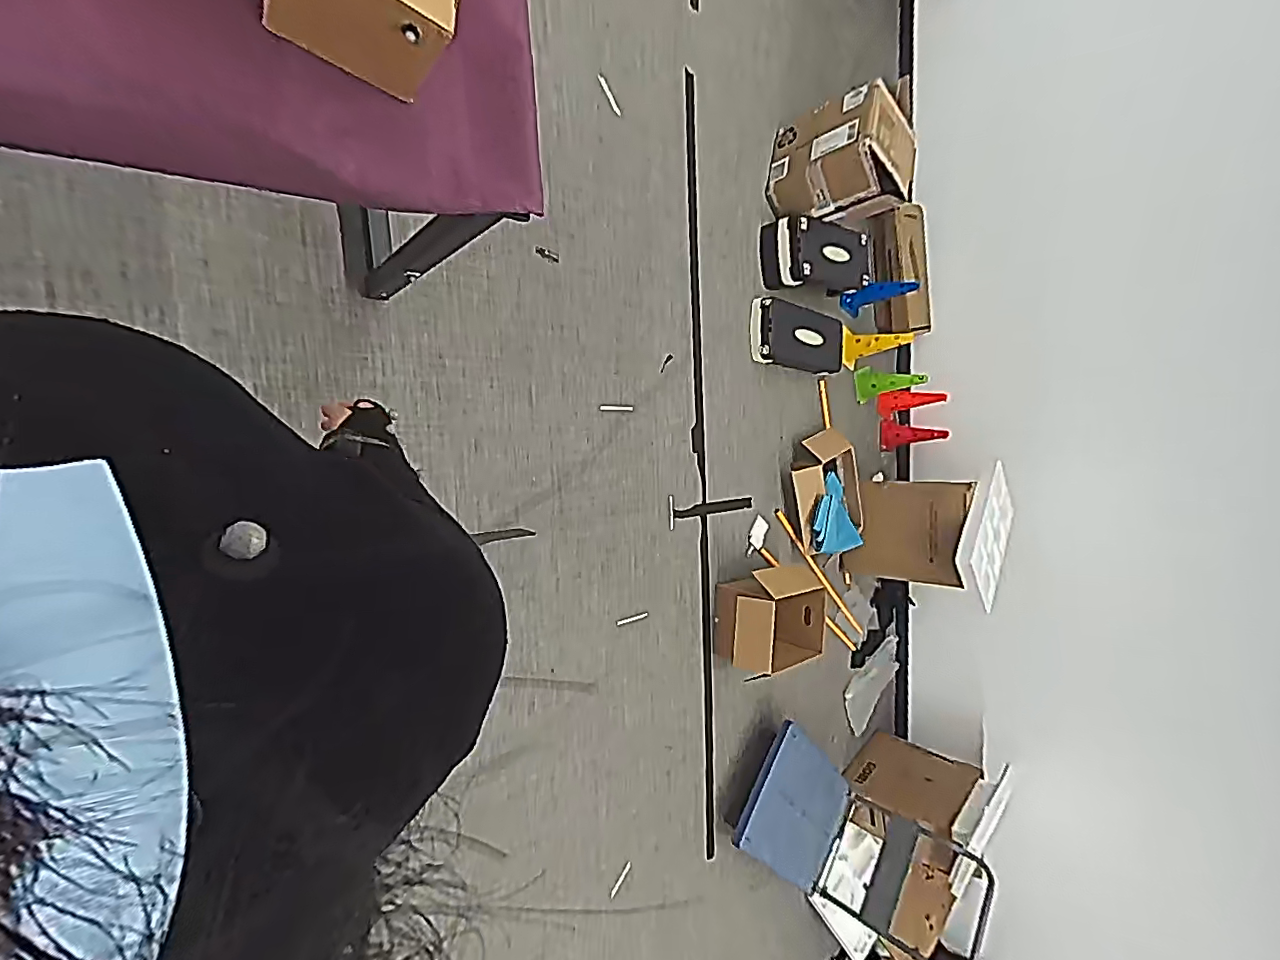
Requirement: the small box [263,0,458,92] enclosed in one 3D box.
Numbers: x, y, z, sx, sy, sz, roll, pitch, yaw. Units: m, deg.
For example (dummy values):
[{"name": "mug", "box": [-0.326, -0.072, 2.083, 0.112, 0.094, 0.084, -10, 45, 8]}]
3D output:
[{"name": "small box", "box": [-0.328, -0.613, 0.640, 0.179, 0.176, 0.168, 6, 88, -42]}]
